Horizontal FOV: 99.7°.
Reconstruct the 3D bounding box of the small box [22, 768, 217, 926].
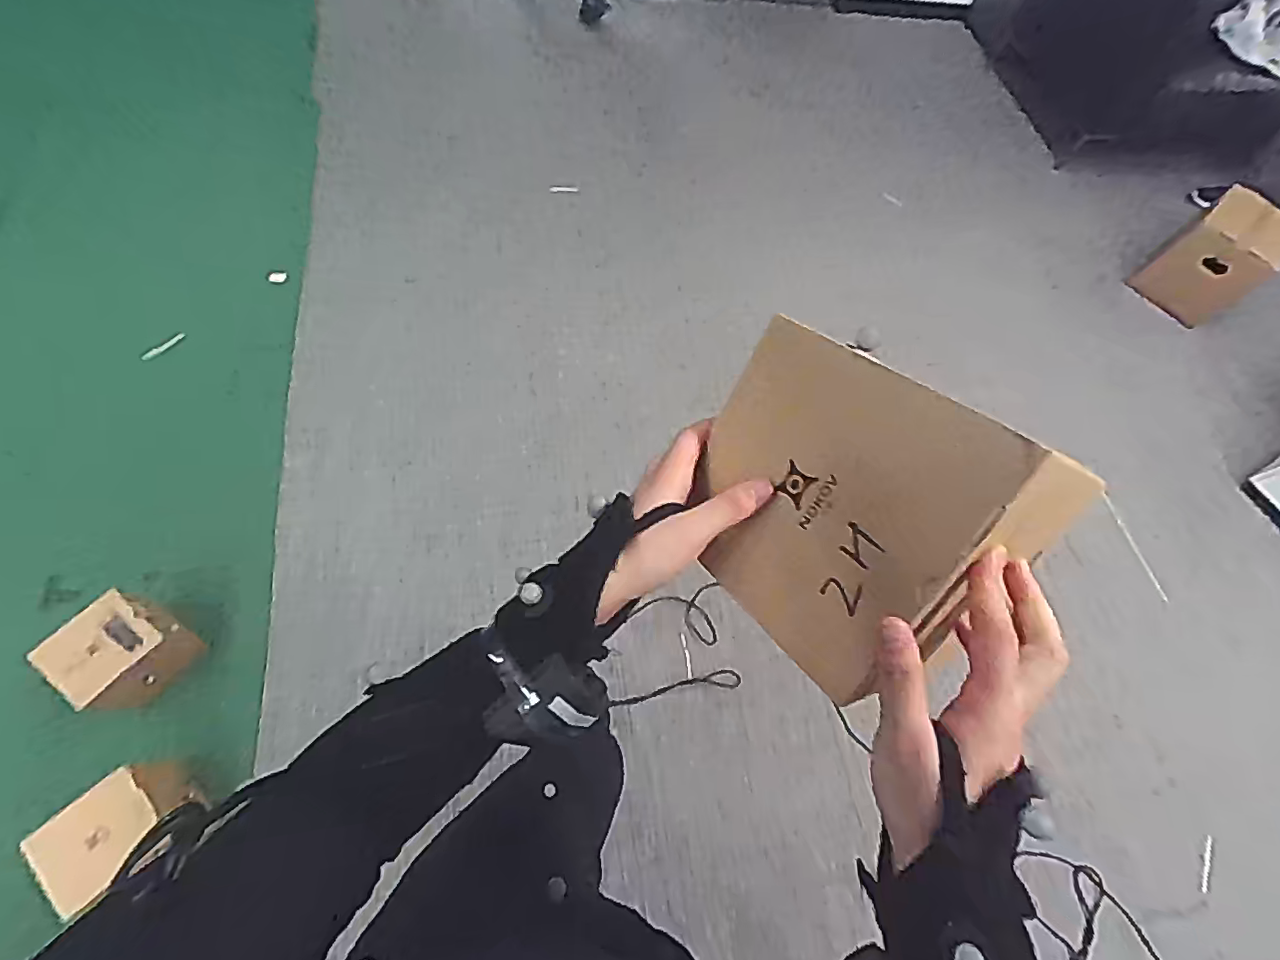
[{"bbox_3d":[-0.970,0.680,1.026,0.168,0.176,0.179,43,65,12],"label":"small box"}]
